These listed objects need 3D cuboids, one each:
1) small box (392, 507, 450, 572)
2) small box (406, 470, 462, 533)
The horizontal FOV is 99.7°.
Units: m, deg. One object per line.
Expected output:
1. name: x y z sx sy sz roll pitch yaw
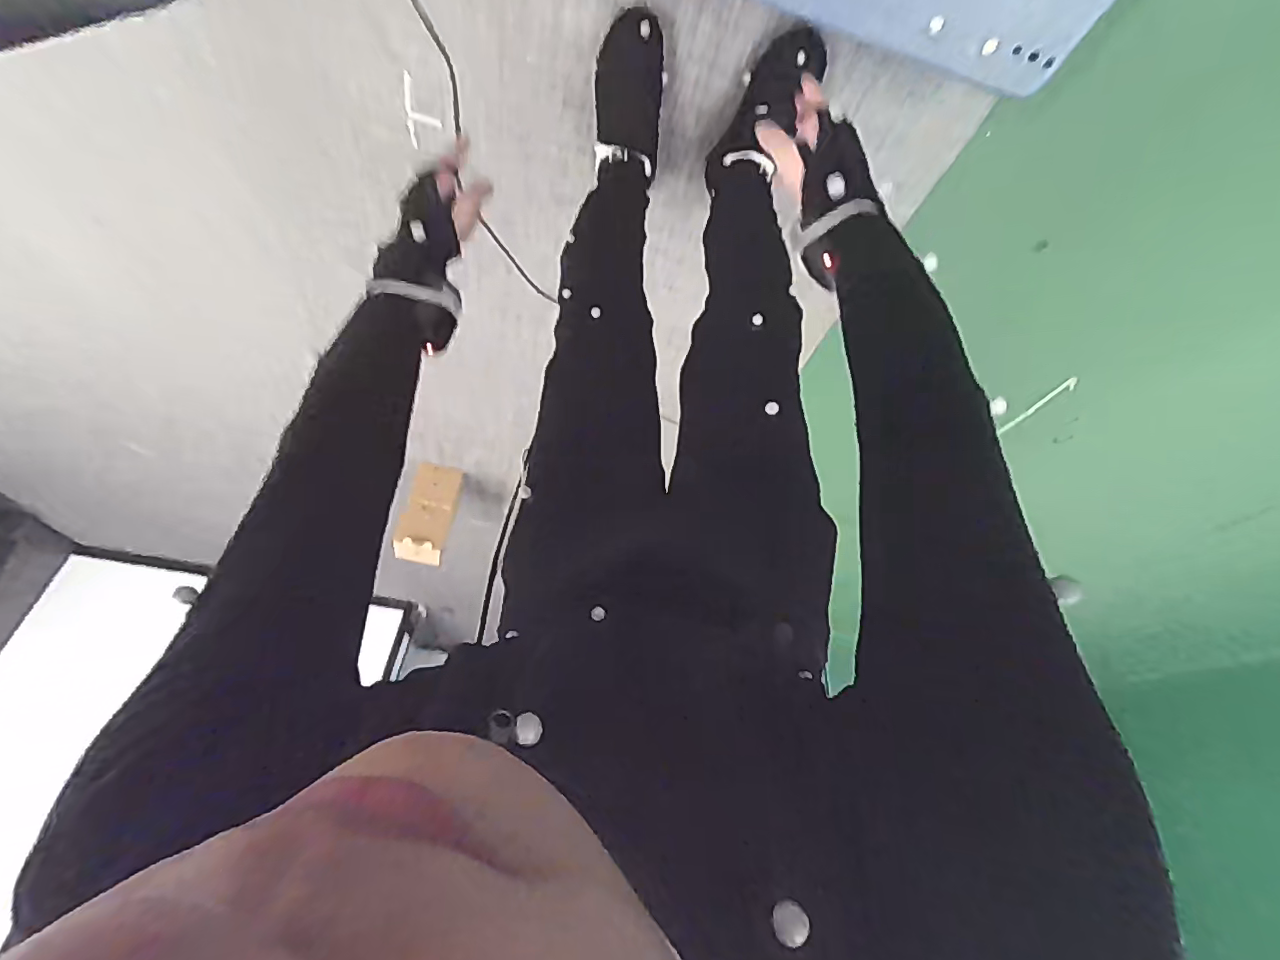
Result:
1. small box: -0.826 0.225 2.044 0.168 0.176 0.179 16 146 -15
2. small box: -0.806 0.083 2.125 0.168 0.176 0.179 15 146 -11
